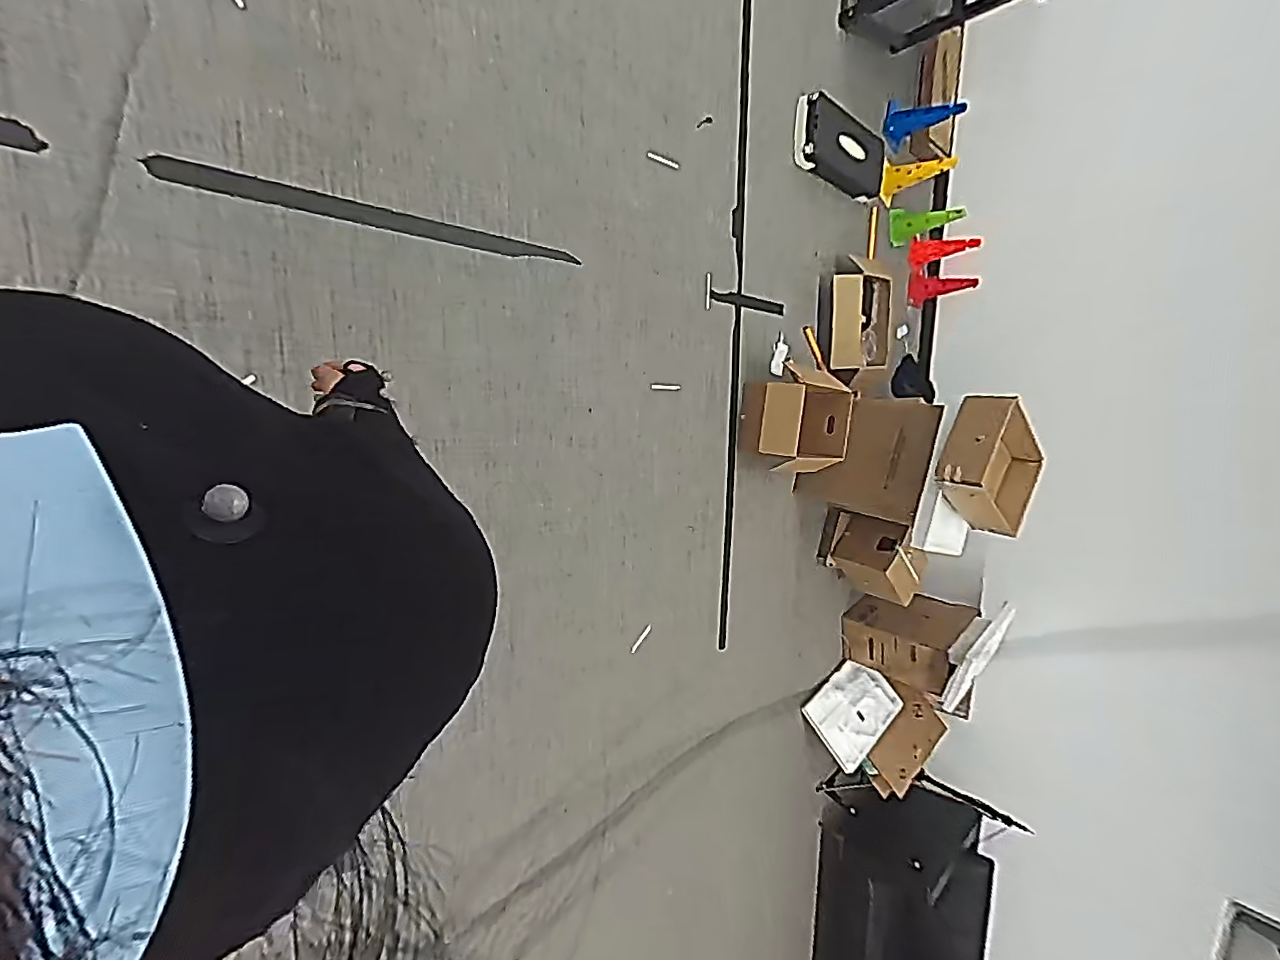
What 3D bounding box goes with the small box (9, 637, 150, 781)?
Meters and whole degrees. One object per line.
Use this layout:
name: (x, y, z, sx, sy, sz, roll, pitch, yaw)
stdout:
small box: (-1.084, 0.436, 1.060, 0.168, 0.176, 0.179, -9, 103, -41)
